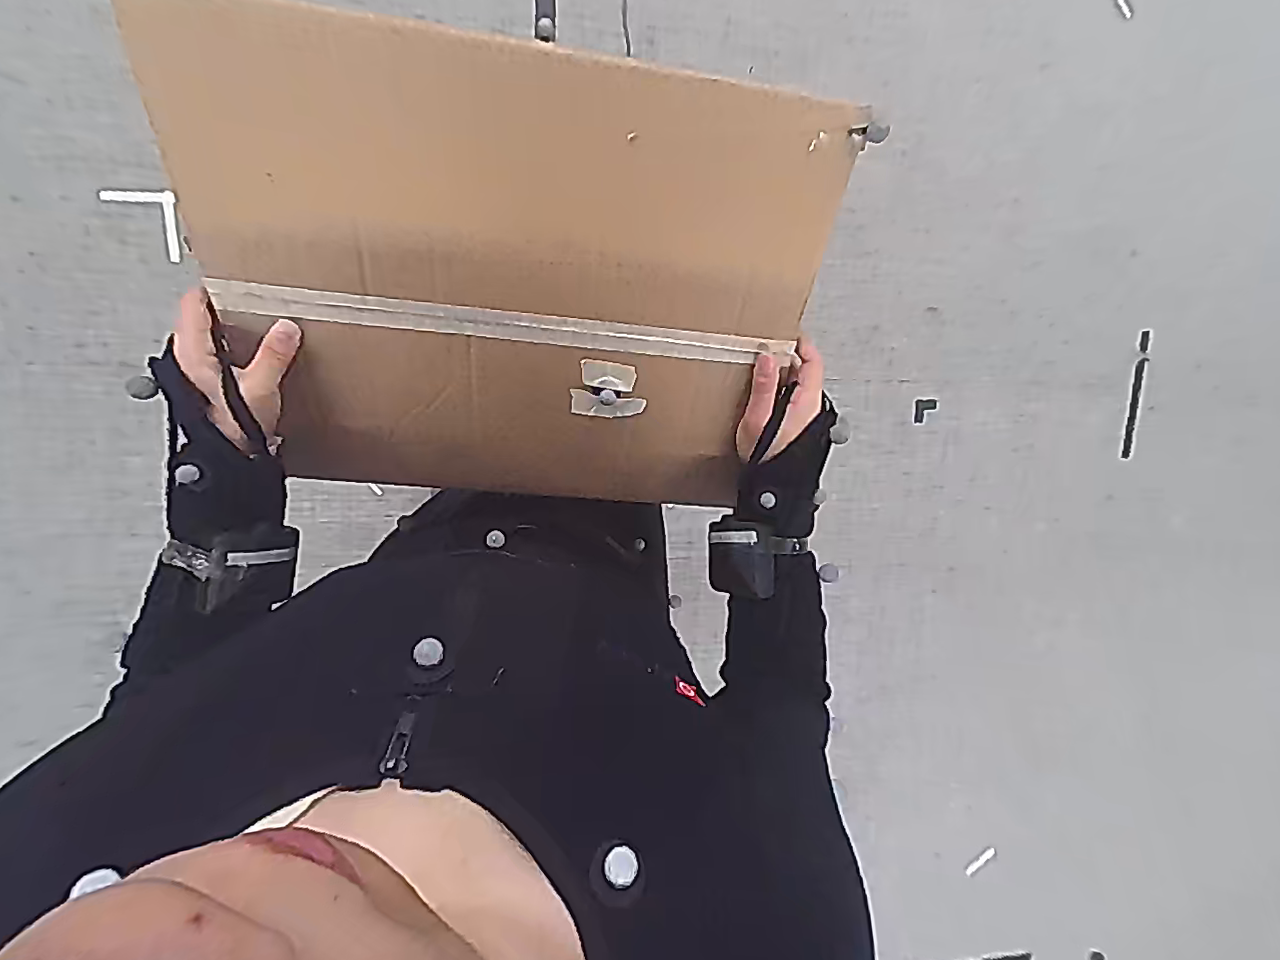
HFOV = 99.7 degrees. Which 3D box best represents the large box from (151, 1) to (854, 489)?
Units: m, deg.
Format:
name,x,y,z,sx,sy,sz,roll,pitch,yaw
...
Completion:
name,x,y,z,sx,sy,sz,roll,pitch,yaw
large box,-0.093,-0.210,0.514,0.408,0.320,0.320,3,129,-8
